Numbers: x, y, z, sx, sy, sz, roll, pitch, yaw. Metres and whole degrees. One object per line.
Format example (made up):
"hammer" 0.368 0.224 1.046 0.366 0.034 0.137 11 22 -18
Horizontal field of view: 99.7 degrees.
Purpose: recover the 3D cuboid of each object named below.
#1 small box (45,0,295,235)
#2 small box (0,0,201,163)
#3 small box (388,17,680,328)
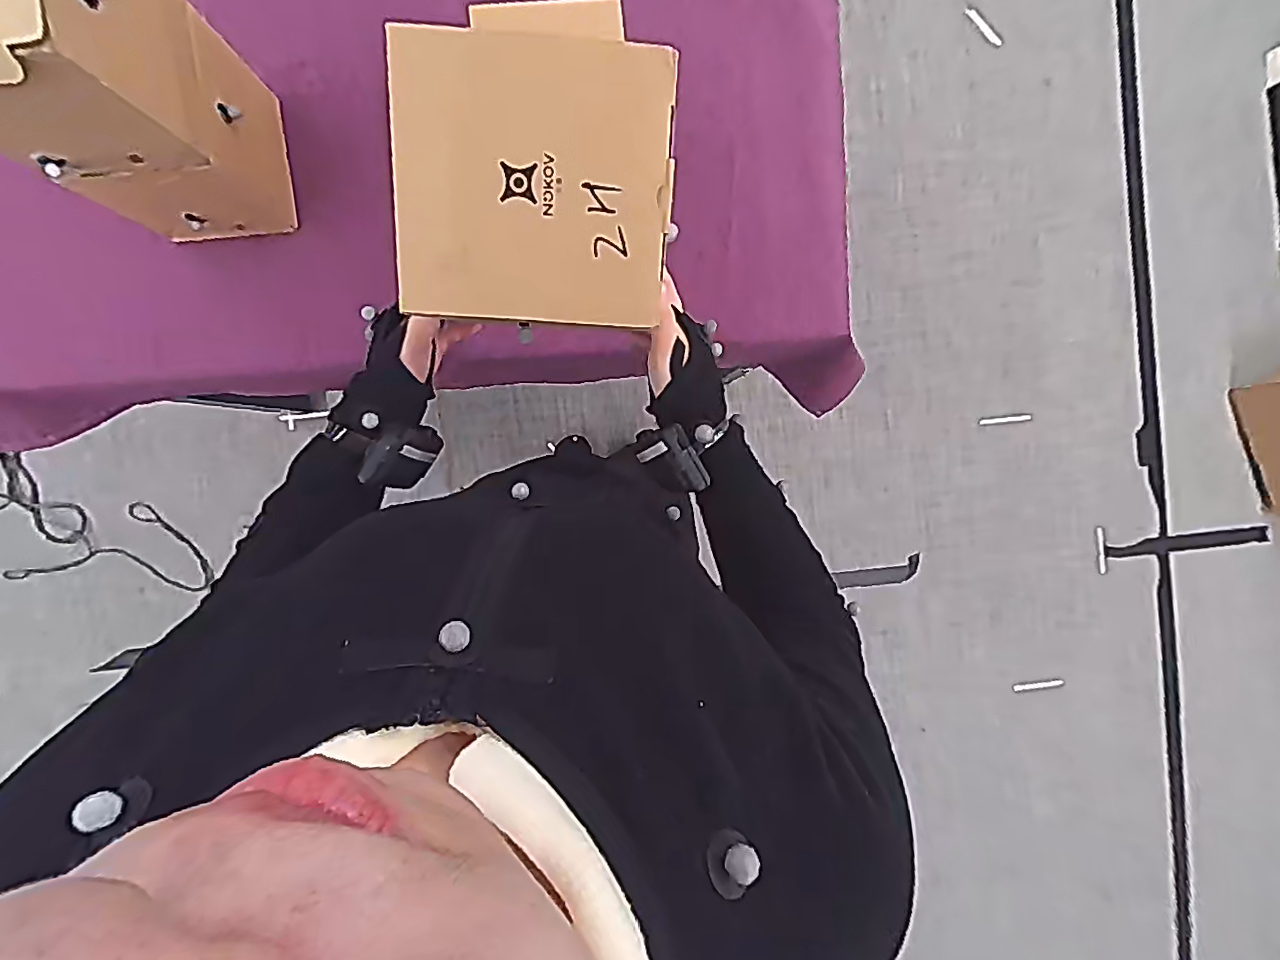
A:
"small box" -0.545 -0.414 0.638 0.168 0.176 0.179 -7 95 -4
"small box" -0.535 -0.405 0.474 0.168 0.176 0.179 -8 94 -4
"small box" -0.071 -0.209 0.418 0.179 0.176 0.168 3 105 -3
